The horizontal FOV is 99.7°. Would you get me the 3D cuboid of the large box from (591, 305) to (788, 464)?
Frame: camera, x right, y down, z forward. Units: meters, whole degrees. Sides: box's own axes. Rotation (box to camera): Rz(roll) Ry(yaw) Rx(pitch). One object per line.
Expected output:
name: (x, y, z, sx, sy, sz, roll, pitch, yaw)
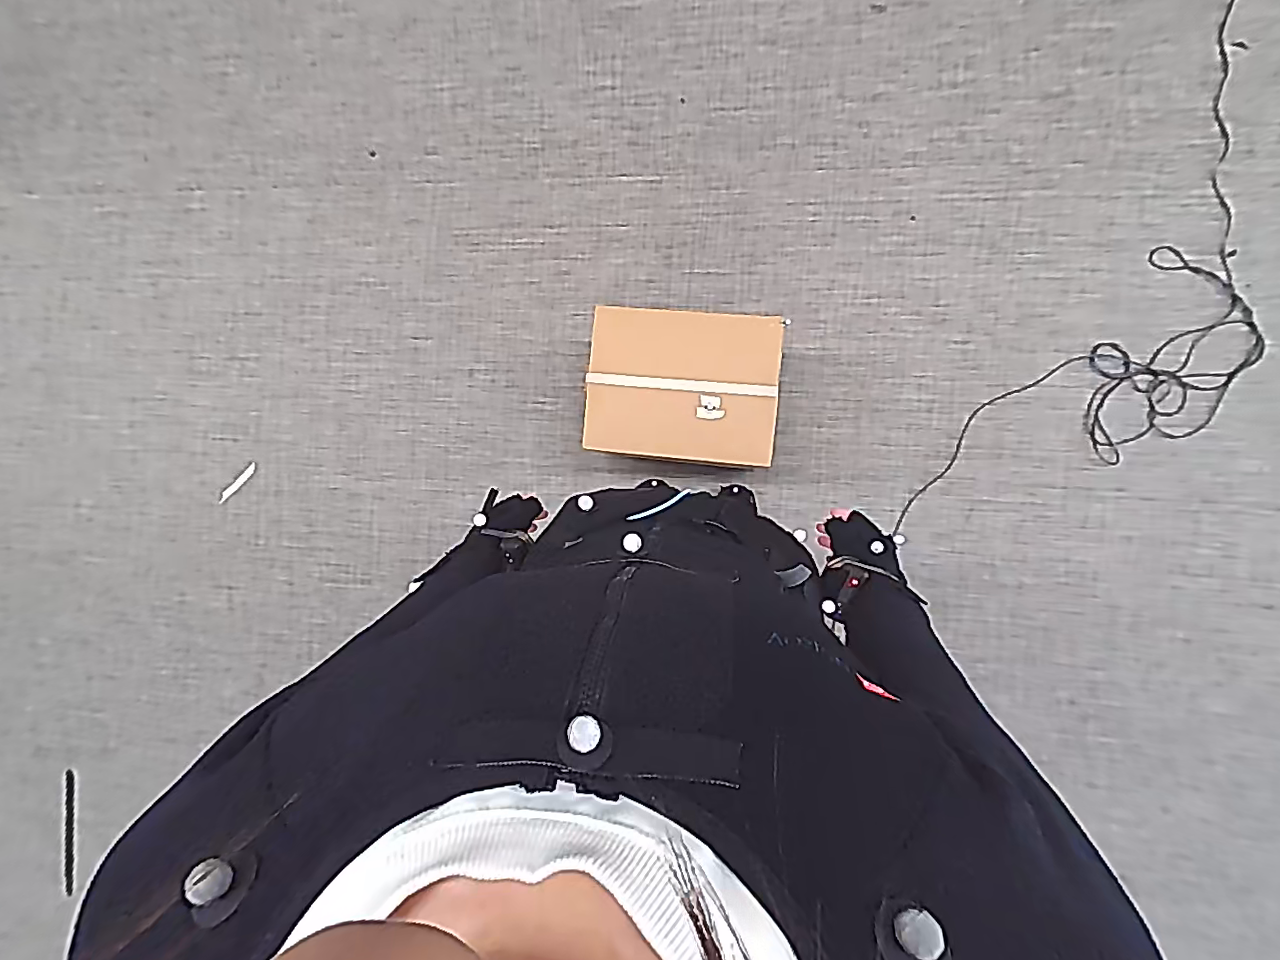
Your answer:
large box: (0.116, -0.209, 1.295, 0.408, 0.320, 0.320, 6, 92, 7)
